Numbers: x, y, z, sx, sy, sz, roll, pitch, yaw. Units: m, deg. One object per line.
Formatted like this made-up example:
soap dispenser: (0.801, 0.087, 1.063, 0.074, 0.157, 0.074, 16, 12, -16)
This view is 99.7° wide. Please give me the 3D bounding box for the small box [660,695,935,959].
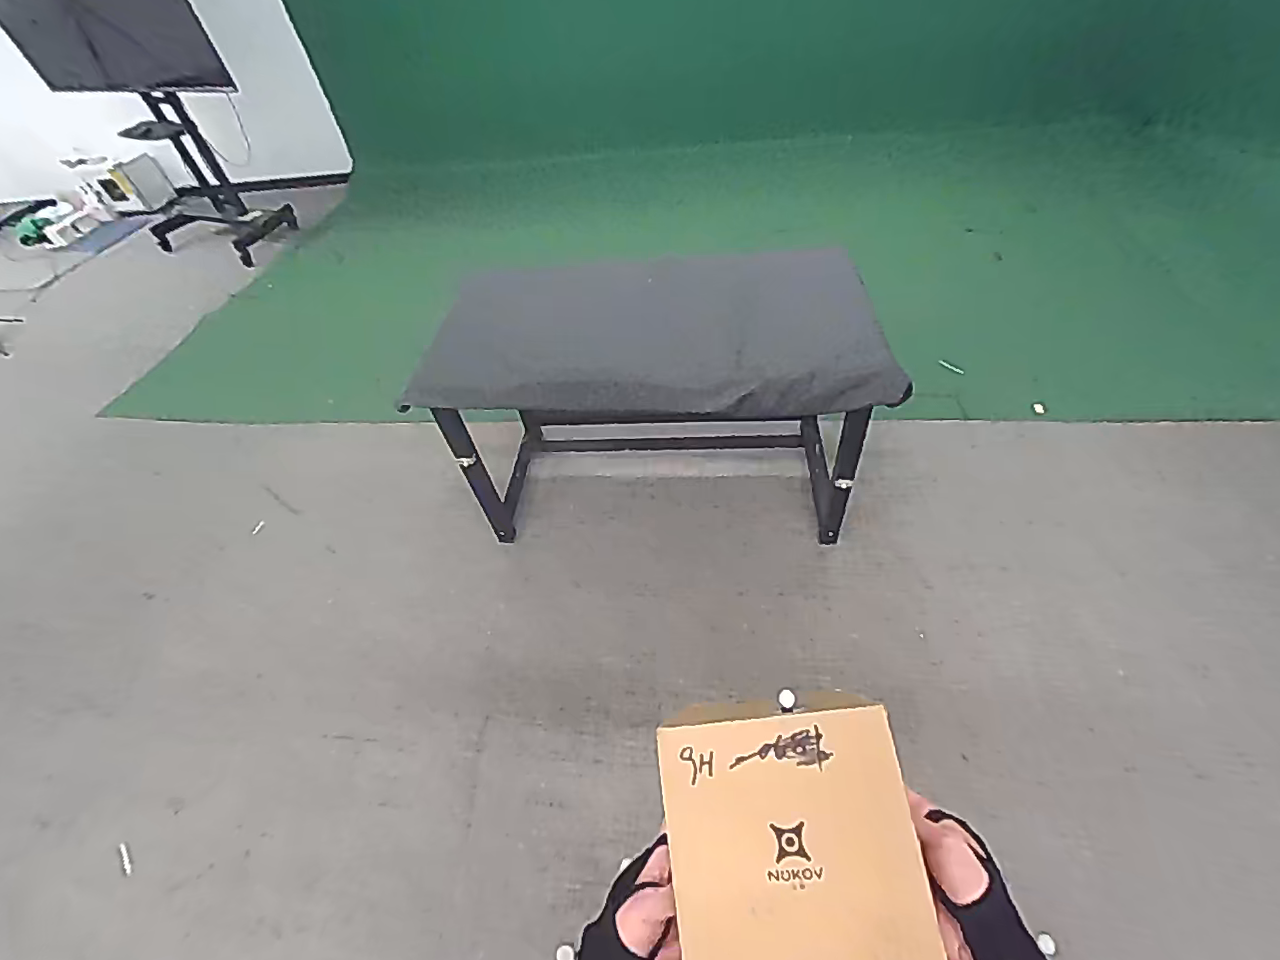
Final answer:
small box: (0.118, 0.285, 0.446, 0.168, 0.176, 0.179, -9, 72, 8)
